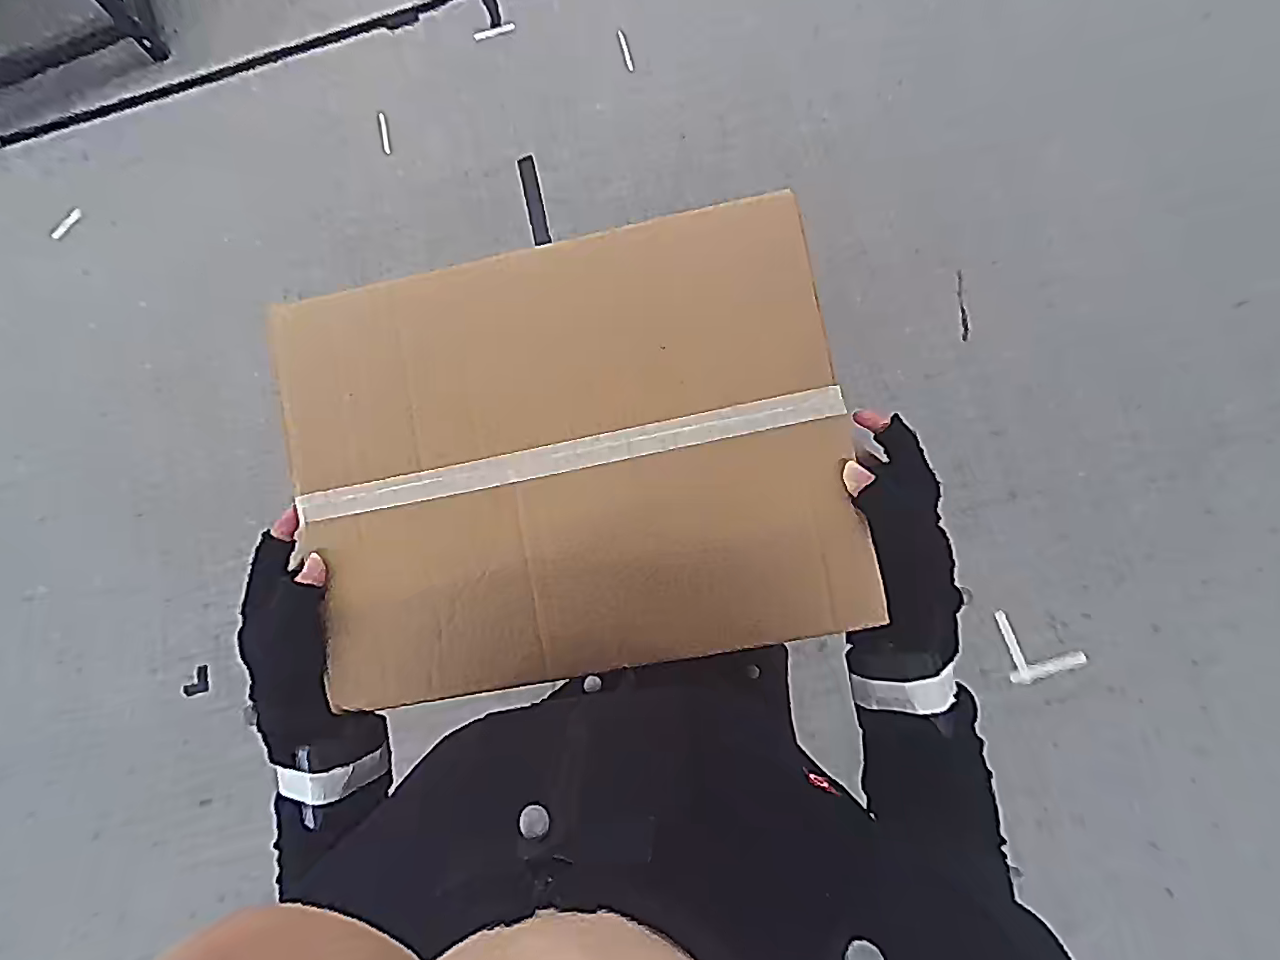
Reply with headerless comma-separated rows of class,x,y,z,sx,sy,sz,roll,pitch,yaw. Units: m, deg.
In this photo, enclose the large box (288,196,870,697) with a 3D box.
large box,-0.044,-0.019,0.554,0.408,0.320,0.320,-11,86,4
